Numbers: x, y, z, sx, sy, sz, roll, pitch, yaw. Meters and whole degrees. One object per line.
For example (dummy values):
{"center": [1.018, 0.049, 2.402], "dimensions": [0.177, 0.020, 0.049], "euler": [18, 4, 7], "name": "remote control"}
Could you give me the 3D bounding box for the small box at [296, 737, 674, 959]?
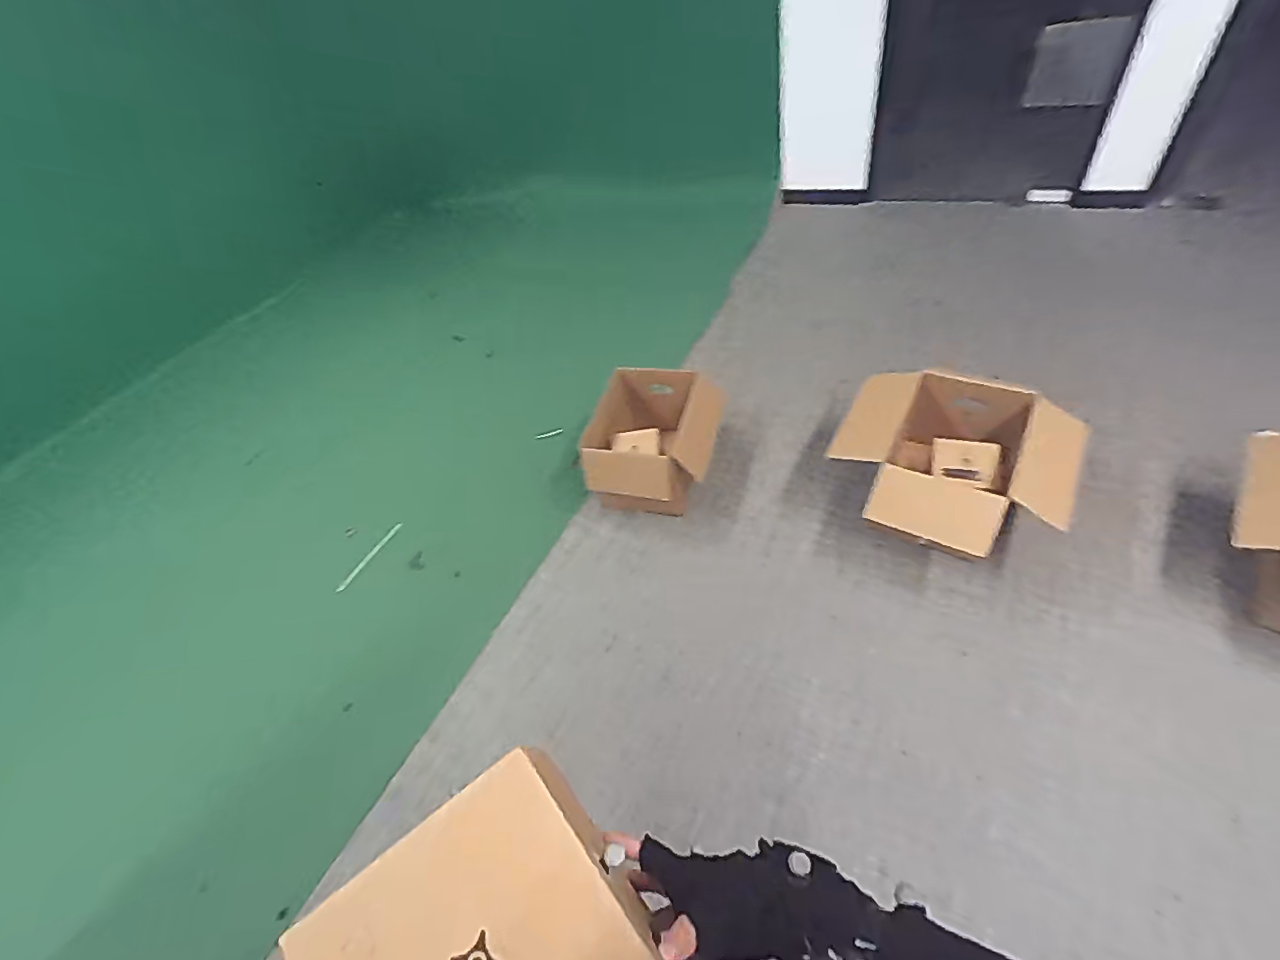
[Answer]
{"center": [-0.094, 0.314, 0.386], "dimensions": [0.168, 0.176, 0.179], "euler": [-33, 72, -19], "name": "small box"}
